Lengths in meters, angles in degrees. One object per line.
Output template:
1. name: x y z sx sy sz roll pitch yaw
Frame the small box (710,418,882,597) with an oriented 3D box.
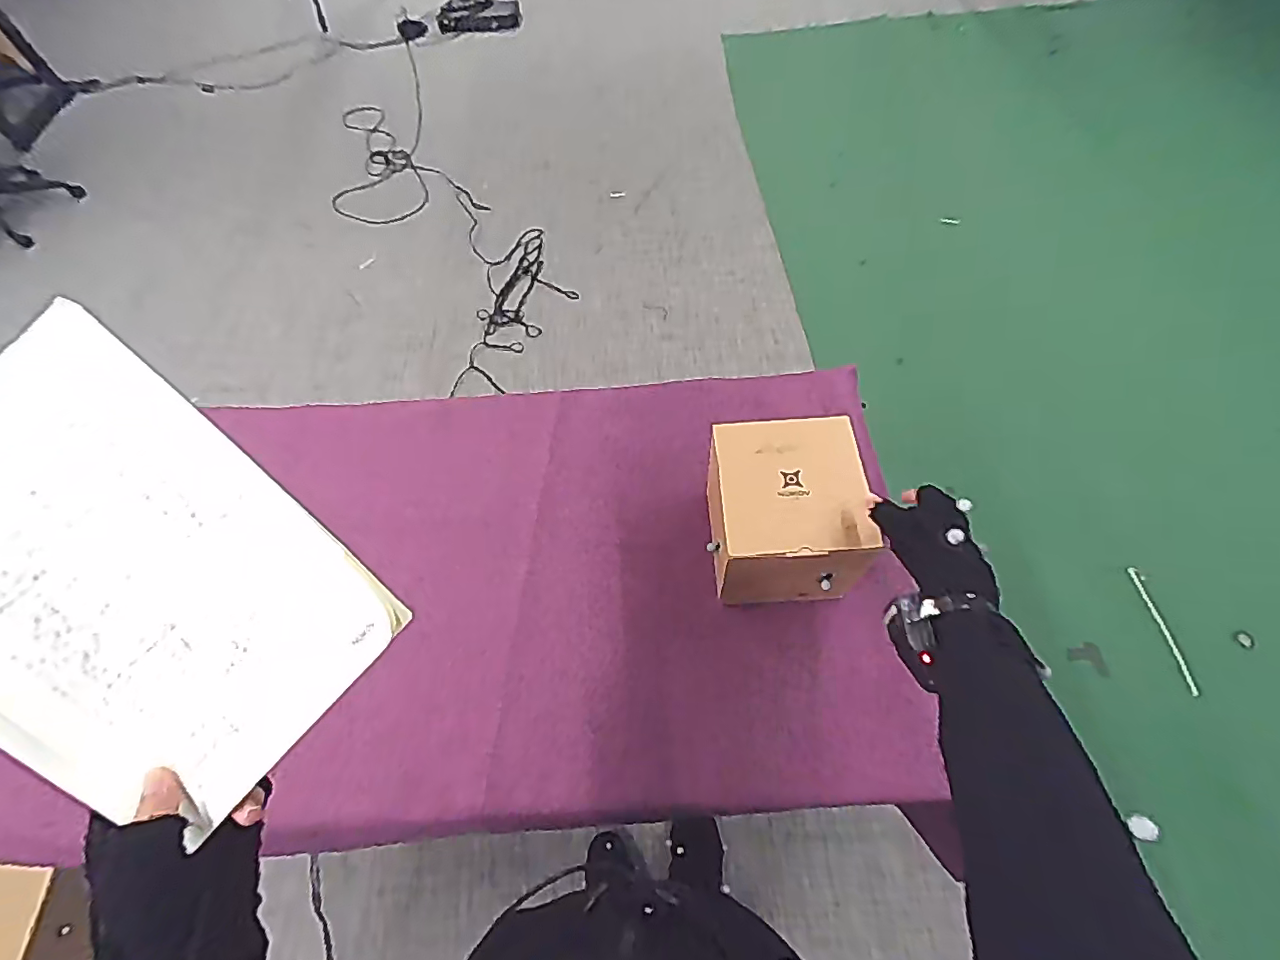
1. small box: 0.178 0.044 0.680 0.168 0.176 0.179 -3 60 2
